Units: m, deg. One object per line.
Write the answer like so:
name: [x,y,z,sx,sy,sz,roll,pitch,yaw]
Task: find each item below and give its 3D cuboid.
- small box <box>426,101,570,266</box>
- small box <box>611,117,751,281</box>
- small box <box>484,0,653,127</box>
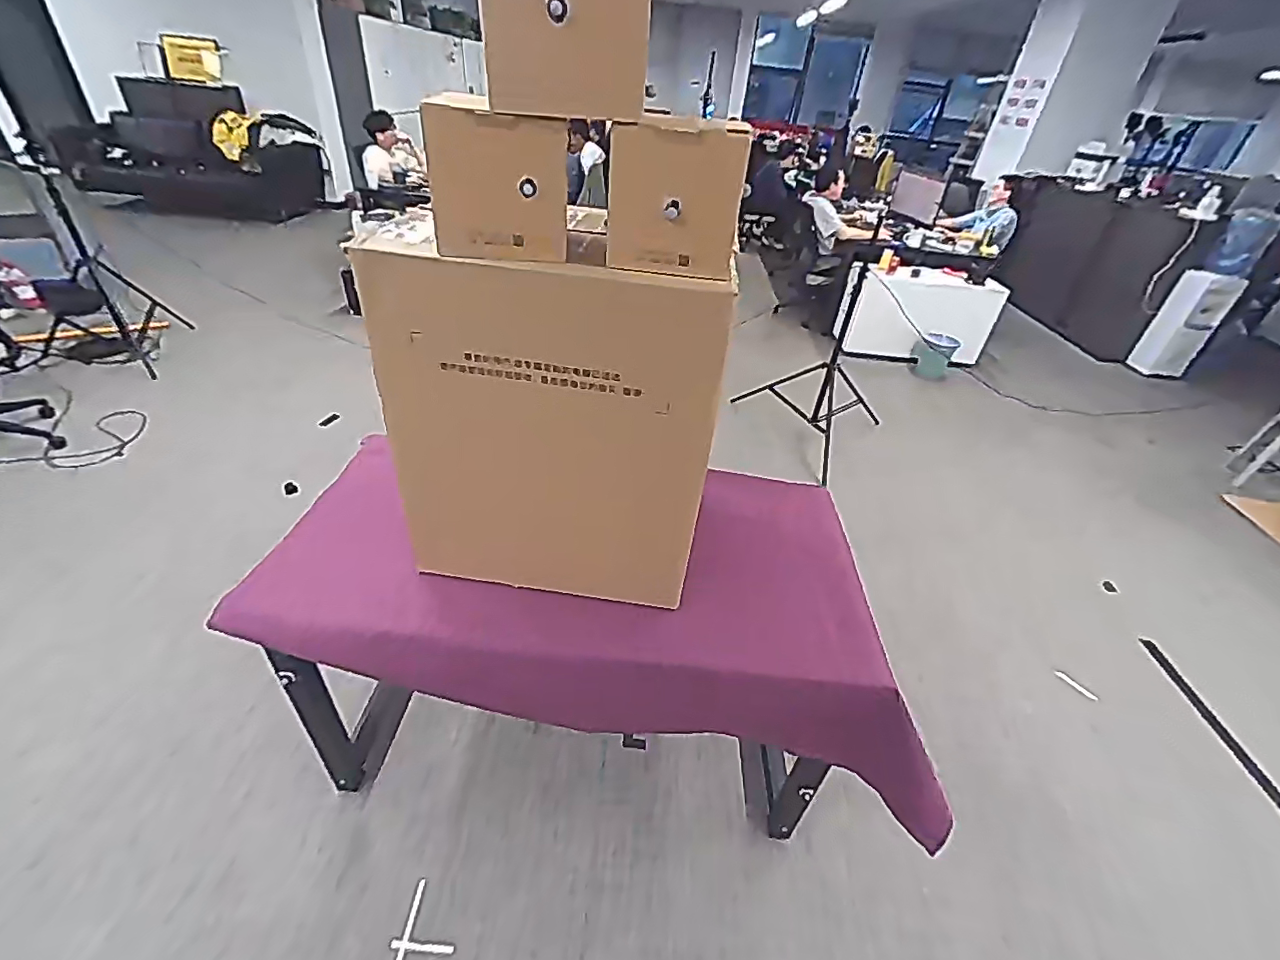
small box: [-0.179,-0.401,0.735,0.168,0.176,0.179,1,36,-9]
small box: [0.053,-0.385,0.741,0.168,0.176,0.179,8,37,2]
small box: [-0.076,-0.519,0.629,0.179,0.176,0.168,1,38,-3]
